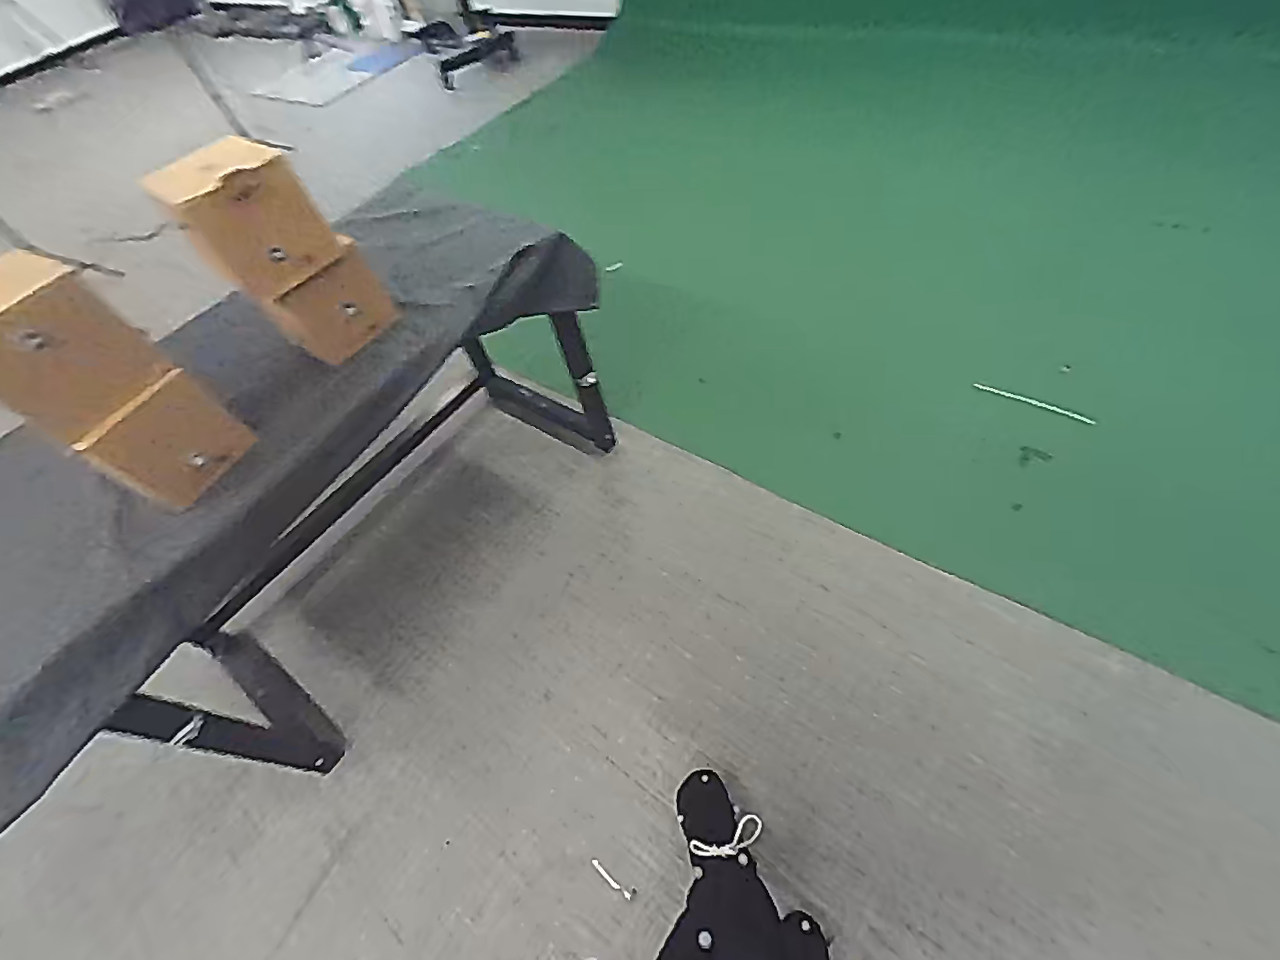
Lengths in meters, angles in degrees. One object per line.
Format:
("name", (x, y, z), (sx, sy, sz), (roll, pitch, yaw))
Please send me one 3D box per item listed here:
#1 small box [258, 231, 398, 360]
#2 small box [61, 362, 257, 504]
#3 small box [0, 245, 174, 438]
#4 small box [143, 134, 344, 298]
("small box", (-0.601, -0.354, 1.023), (0.179, 0.176, 0.168), (28, 65, 26))
("small box", (-0.780, -0.085, 0.866), (0.179, 0.176, 0.168), (18, 60, 21))
("small box", (-0.815, -0.187, 0.743), (0.168, 0.176, 0.179), (22, 61, 22))
("small box", (-0.631, -0.425, 0.877), (0.179, 0.176, 0.168), (31, 66, 27))
